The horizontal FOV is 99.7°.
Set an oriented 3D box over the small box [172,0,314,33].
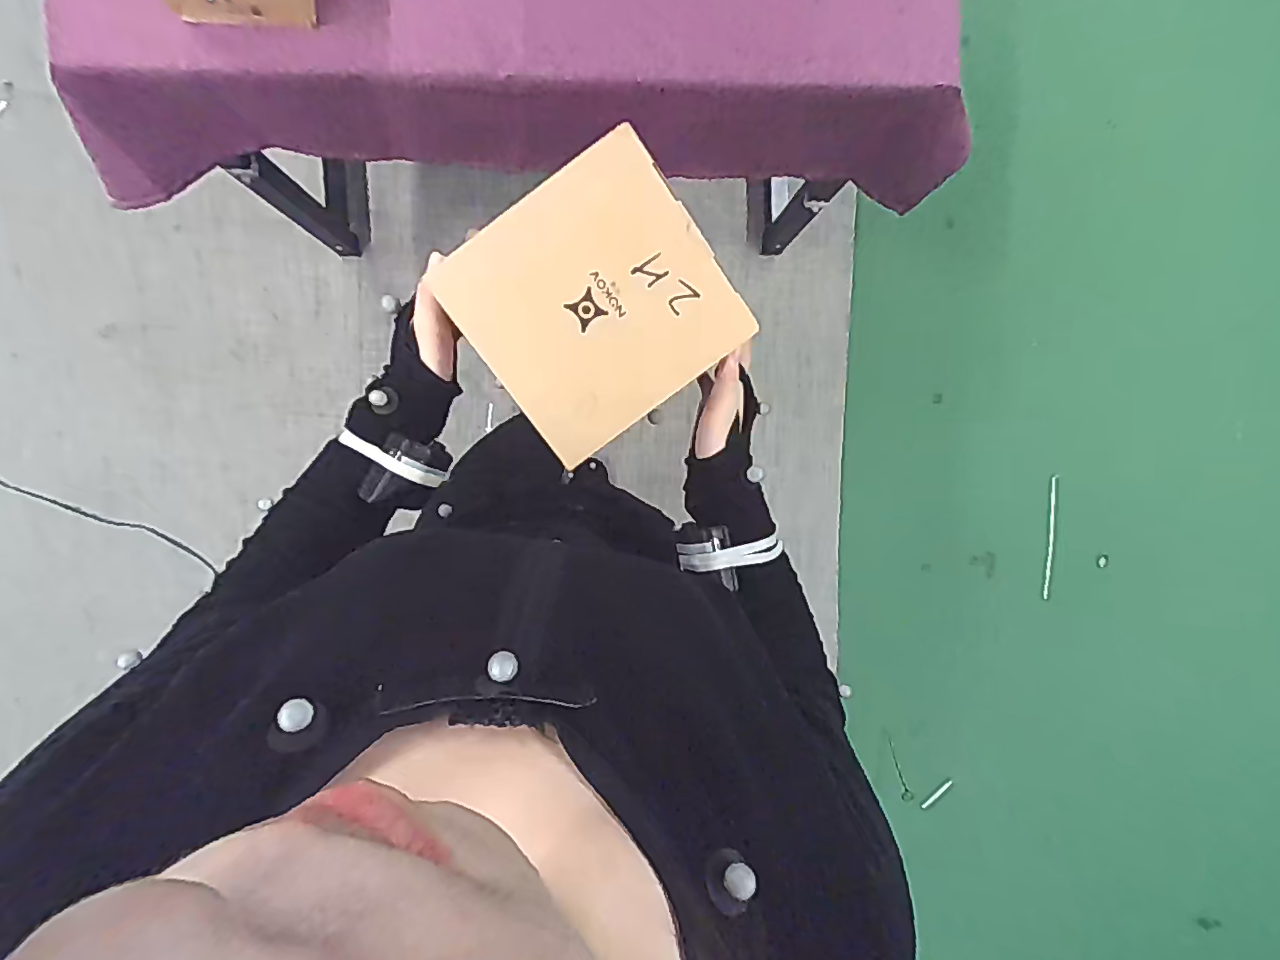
[{"bbox_3d":[-0.494,-0.661,0.608,0.168,0.176,0.179,-1,94,-5],"label":"small box"}]
